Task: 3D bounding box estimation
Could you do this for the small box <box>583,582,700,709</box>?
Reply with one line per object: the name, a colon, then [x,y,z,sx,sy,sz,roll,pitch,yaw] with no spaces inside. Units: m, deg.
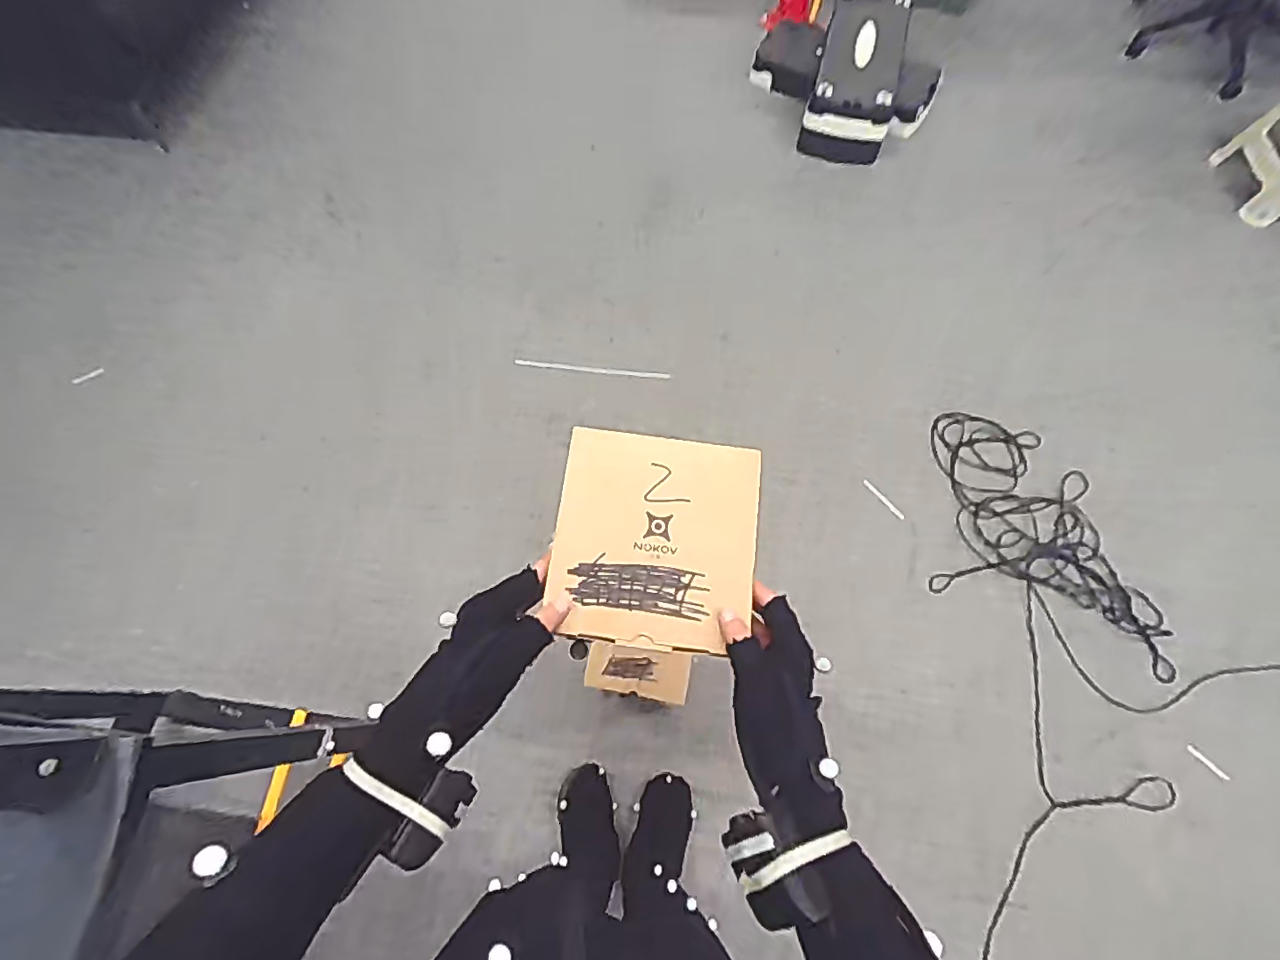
small box: [0.007,0.295,0.955,0.168,0.176,0.179,10,68,5]
